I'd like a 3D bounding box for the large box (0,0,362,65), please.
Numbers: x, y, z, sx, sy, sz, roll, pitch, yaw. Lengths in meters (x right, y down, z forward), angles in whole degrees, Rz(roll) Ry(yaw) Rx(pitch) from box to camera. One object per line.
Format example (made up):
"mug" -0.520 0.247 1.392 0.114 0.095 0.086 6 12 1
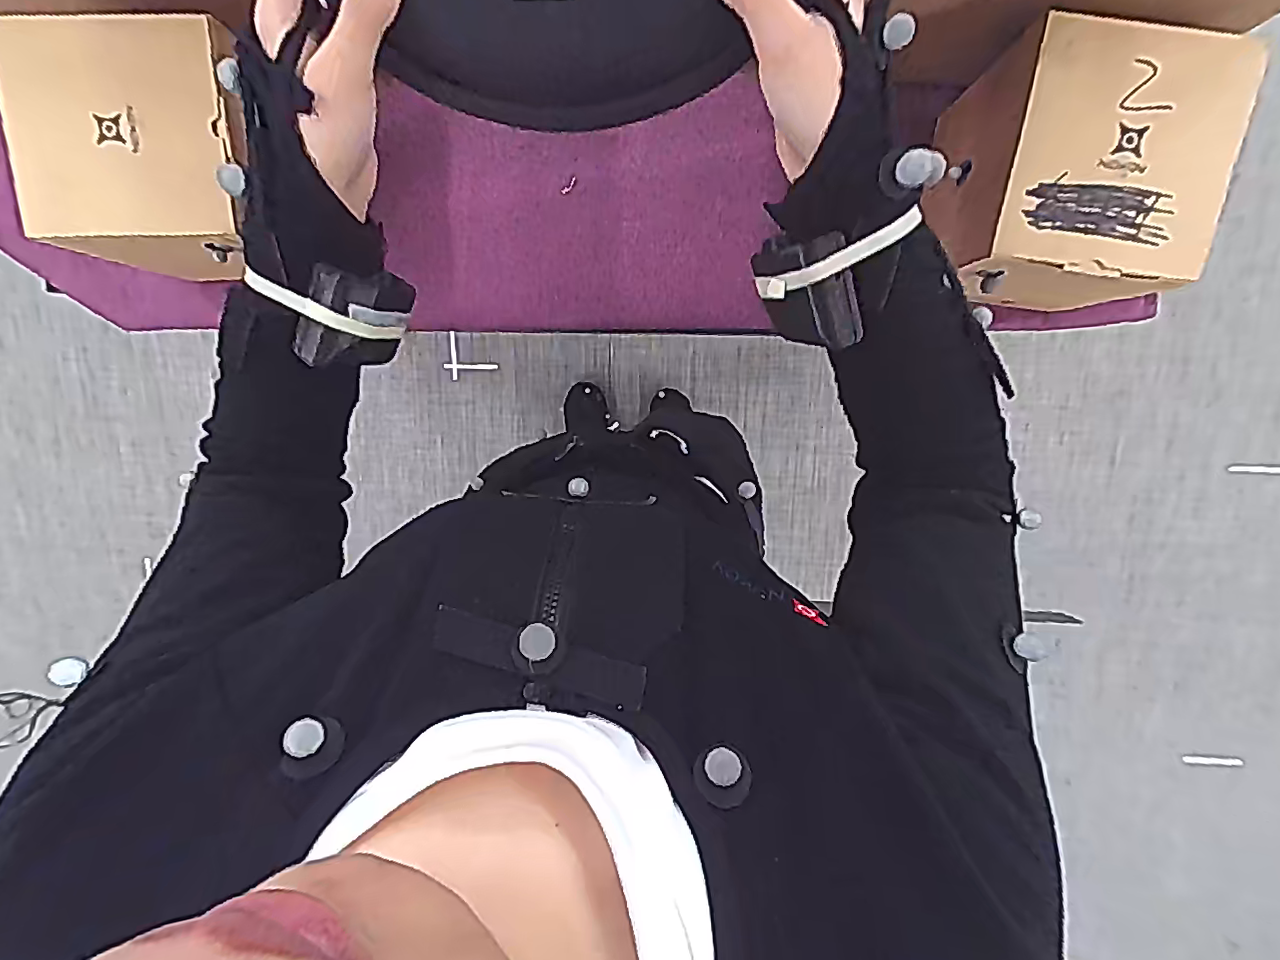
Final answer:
"large box" -0.447 -0.610 0.396 0.320 0.320 0.408 0 103 1
